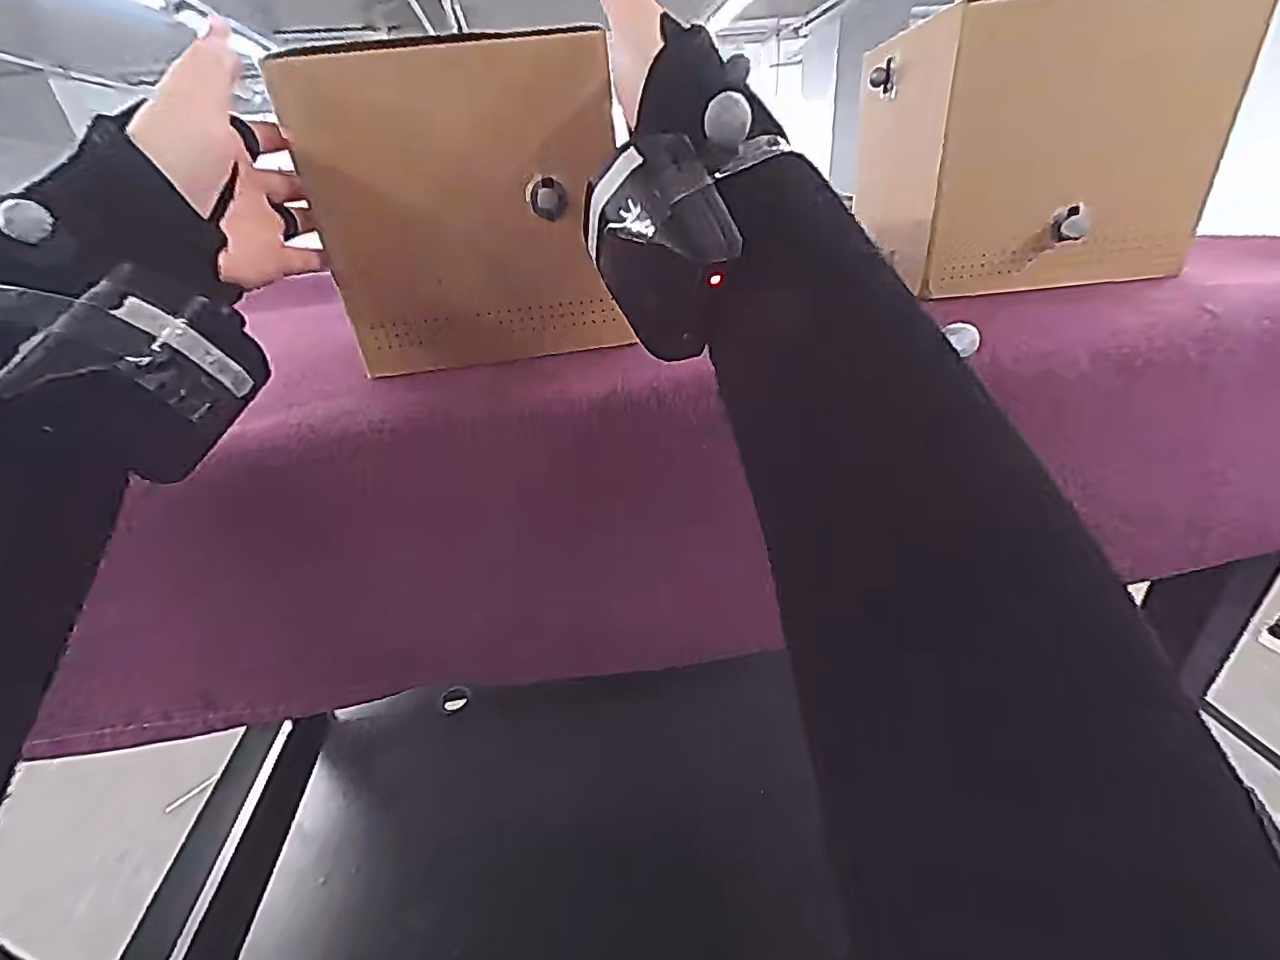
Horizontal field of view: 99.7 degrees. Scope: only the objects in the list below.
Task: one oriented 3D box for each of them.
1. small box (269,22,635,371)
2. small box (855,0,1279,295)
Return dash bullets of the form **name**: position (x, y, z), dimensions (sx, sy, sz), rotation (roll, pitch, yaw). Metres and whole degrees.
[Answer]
- **small box**: position (-0.100, -0.187, 0.377), dimensions (0.179, 0.176, 0.168), rotation (-9, 28, -4)
- **small box**: position (0.279, -0.243, 0.402), dimensions (0.179, 0.176, 0.168), rotation (-4, 28, 4)
